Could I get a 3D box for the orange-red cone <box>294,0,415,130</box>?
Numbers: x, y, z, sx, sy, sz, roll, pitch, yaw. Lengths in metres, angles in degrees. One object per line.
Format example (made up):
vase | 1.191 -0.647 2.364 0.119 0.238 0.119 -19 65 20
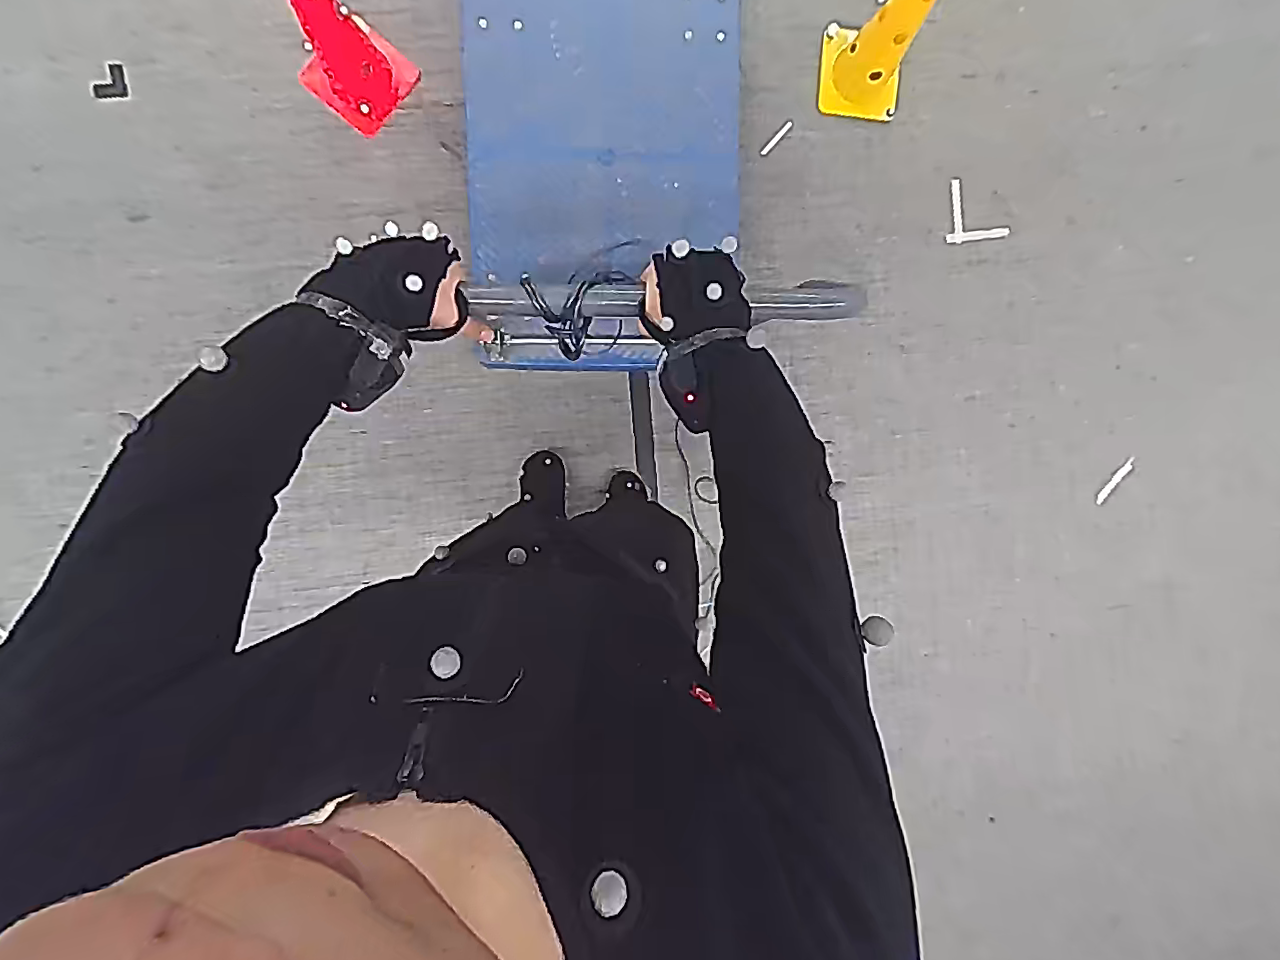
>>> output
orange-red cone | -0.617 -0.908 1.049 0.198 0.360 0.199 40 89 -8
